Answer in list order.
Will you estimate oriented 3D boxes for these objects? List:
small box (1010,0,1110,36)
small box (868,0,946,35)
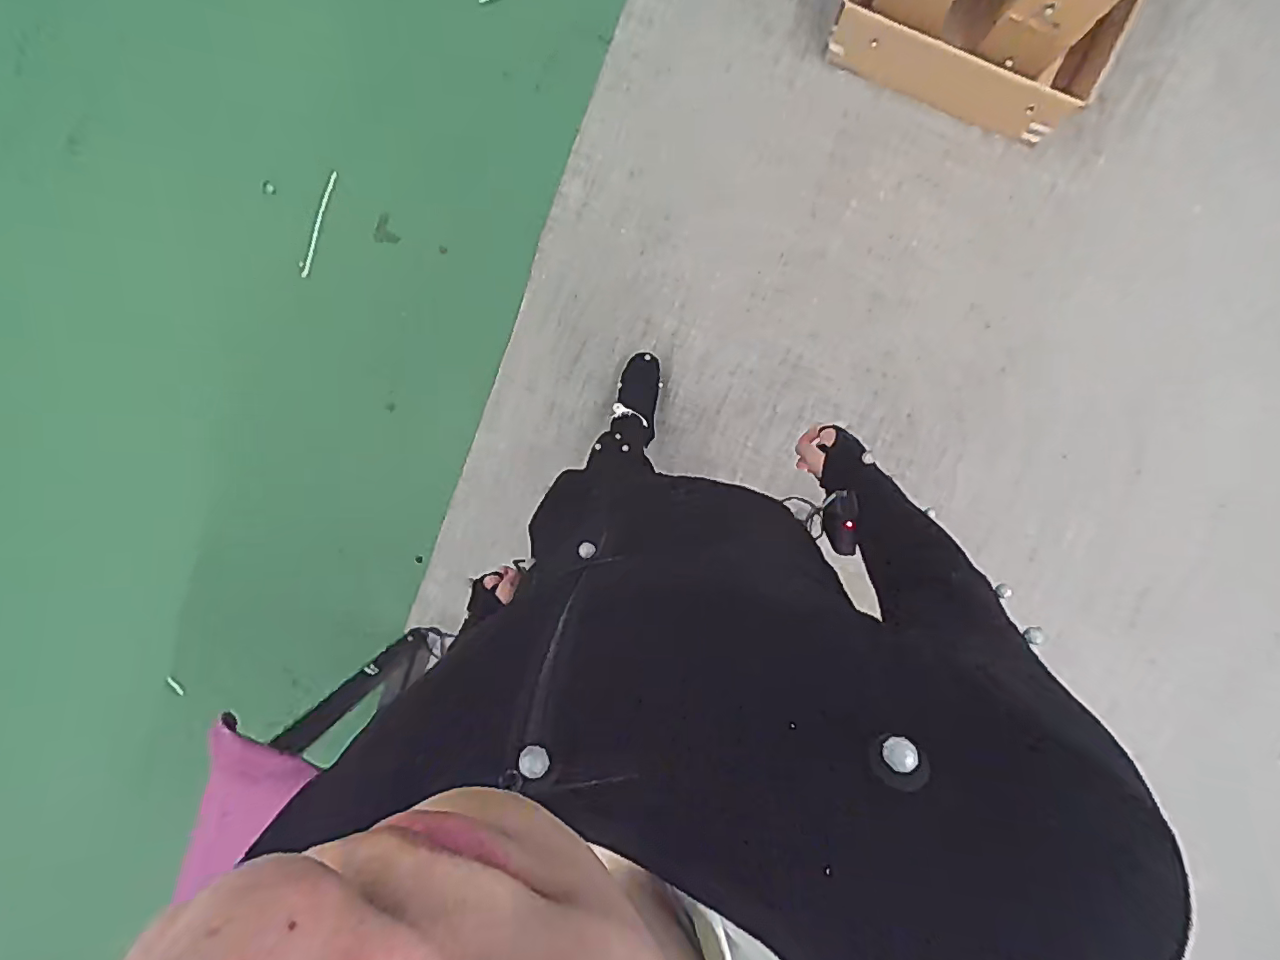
[{"bbox_3d":[0.904,-1.072,1.097,0.168,0.176,0.179,25,100,1],"label":"small box"},{"bbox_3d":[0.665,-1.210,1.261,0.168,0.176,0.179,26,98,1],"label":"small box"}]
